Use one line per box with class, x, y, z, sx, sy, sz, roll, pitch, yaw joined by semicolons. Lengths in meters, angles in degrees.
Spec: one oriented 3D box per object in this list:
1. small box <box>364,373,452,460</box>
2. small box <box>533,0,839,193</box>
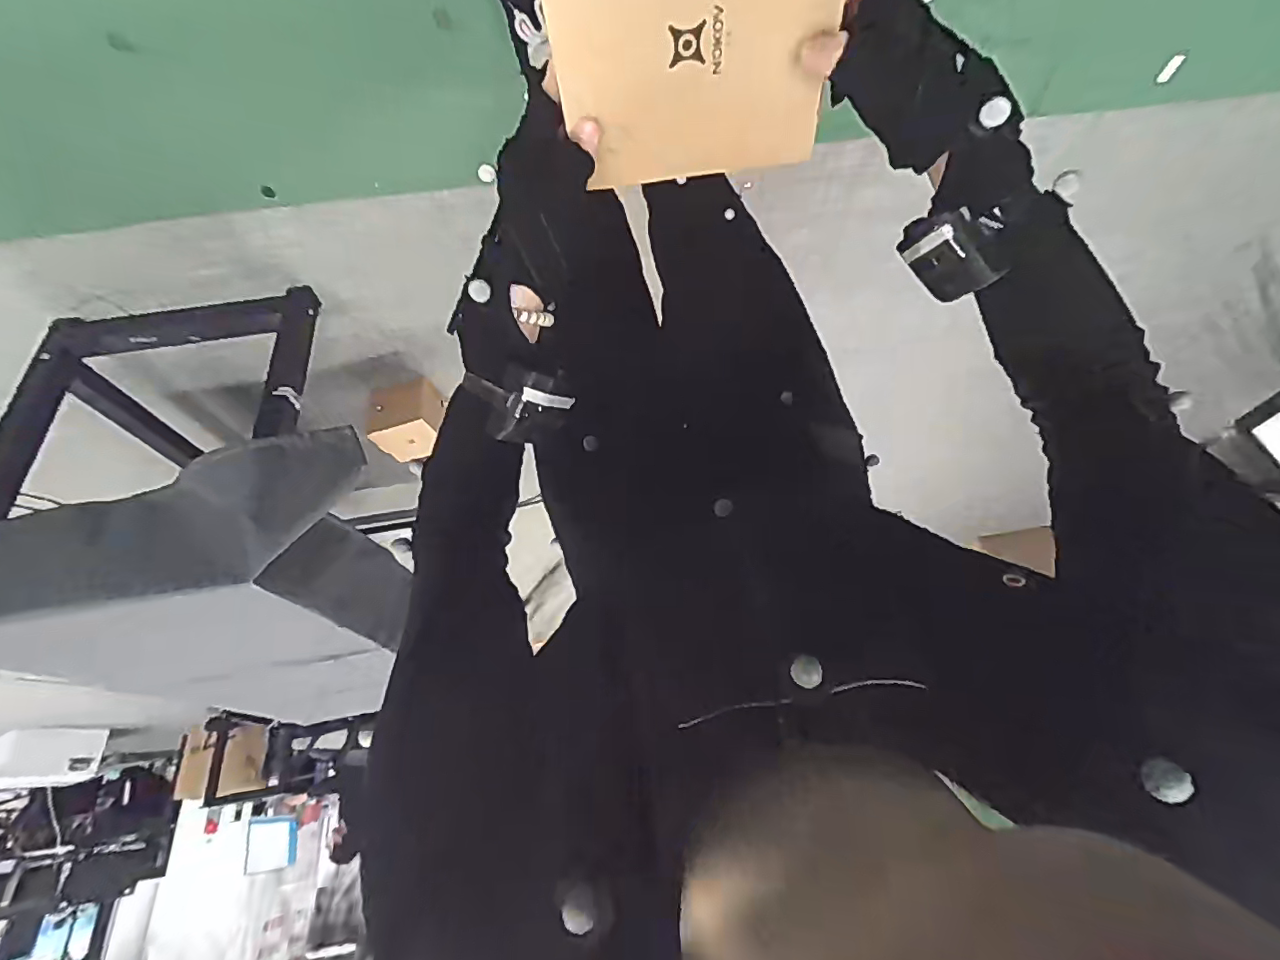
small box;-0.667;-0.184;1.577;0.179;0.176;0.168;-14;151;8
small box;0.023;-0.330;0.365;0.179;0.176;0.168;-7;153;2
